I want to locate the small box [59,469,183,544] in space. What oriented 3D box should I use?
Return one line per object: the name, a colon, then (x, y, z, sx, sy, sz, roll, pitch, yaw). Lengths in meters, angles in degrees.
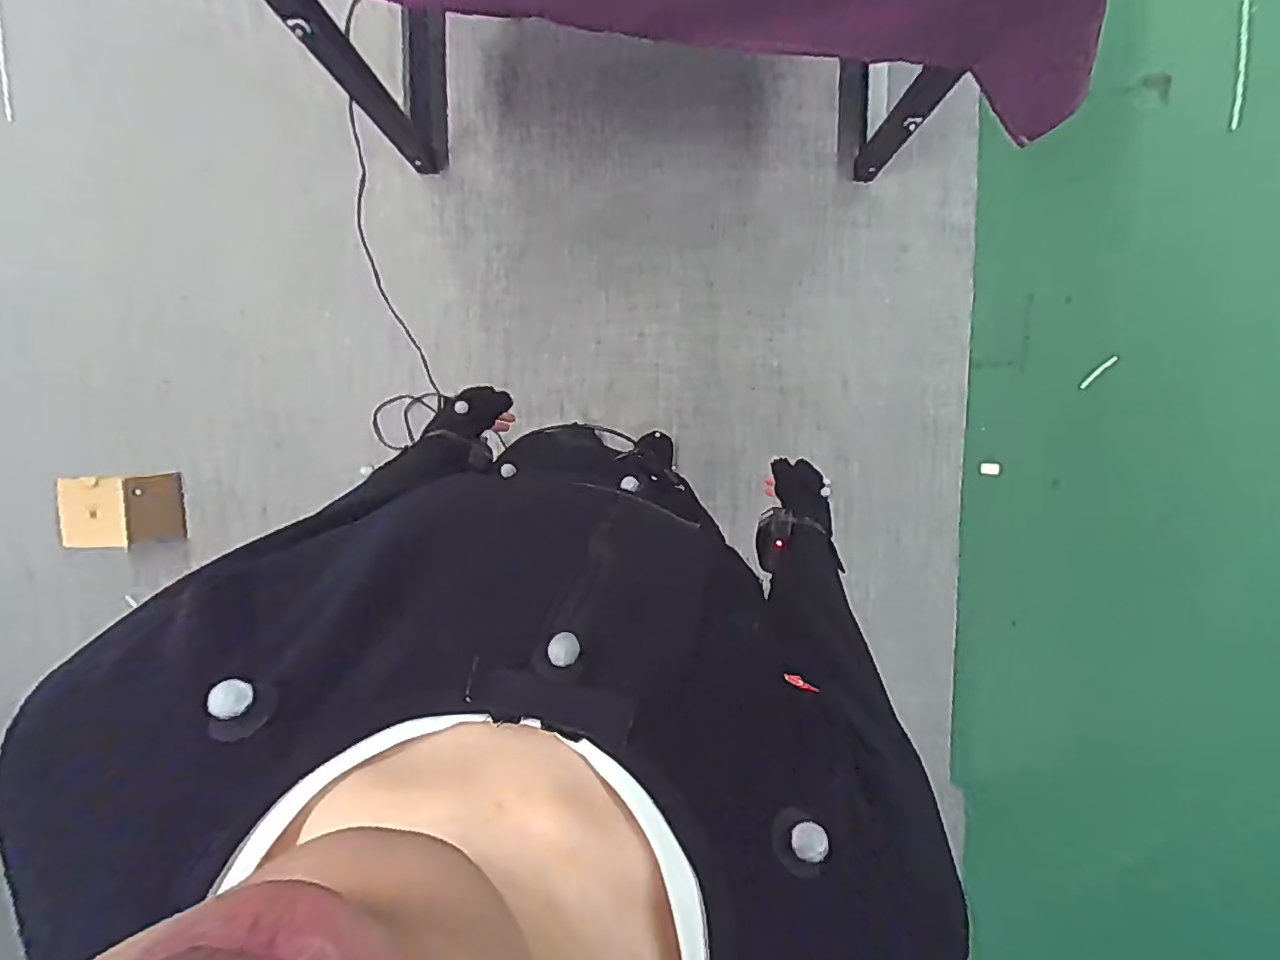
small box: (-1.347, 0.065, 1.416, 0.168, 0.176, 0.179, 0, 95, 1)
